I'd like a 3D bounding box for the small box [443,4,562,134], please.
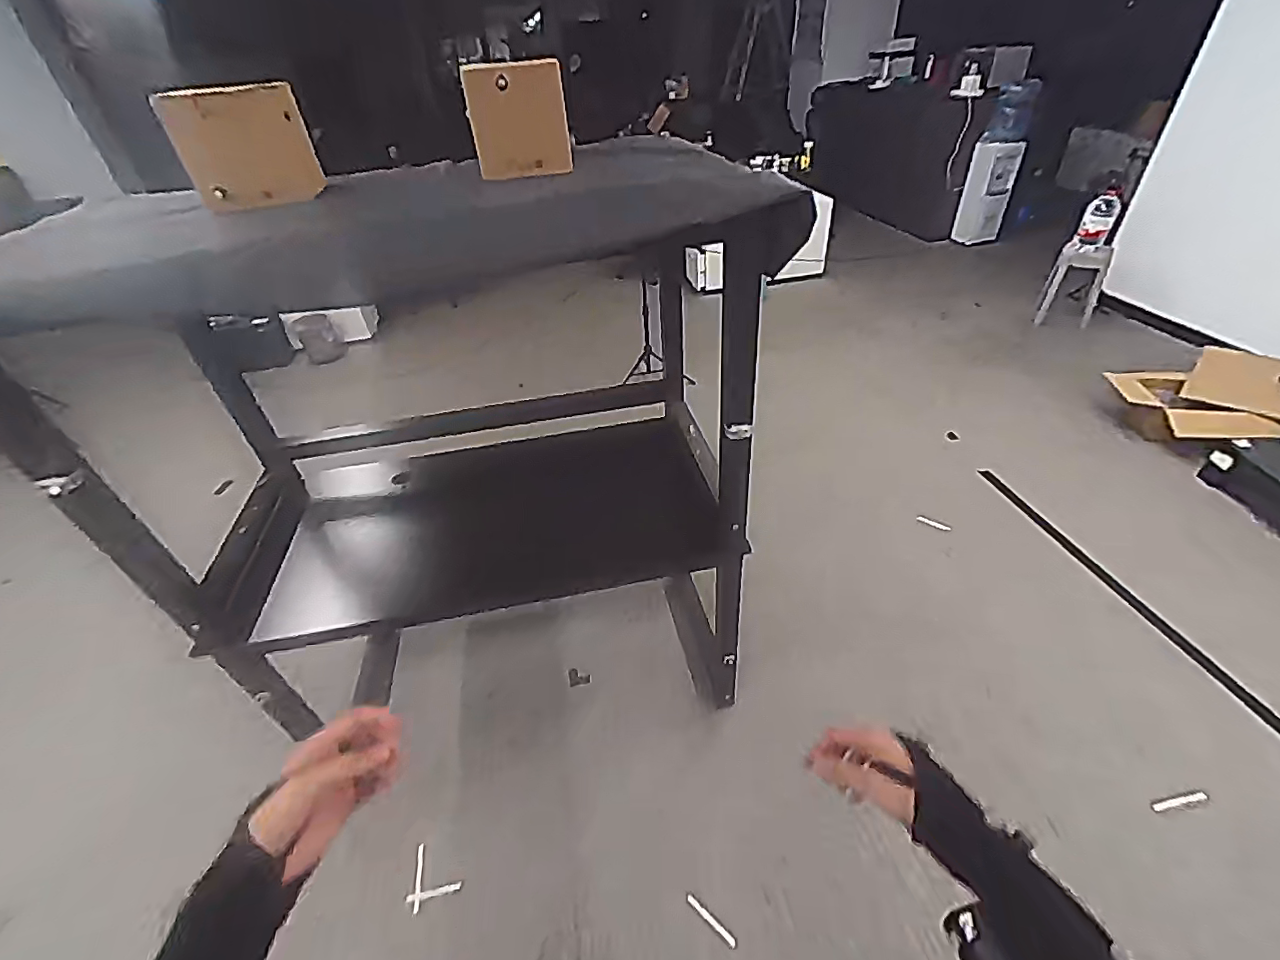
[{"bbox_3d":[-0.237,-0.726,0.962,0.168,0.176,0.179,-10,39,-6],"label":"small box"}]
